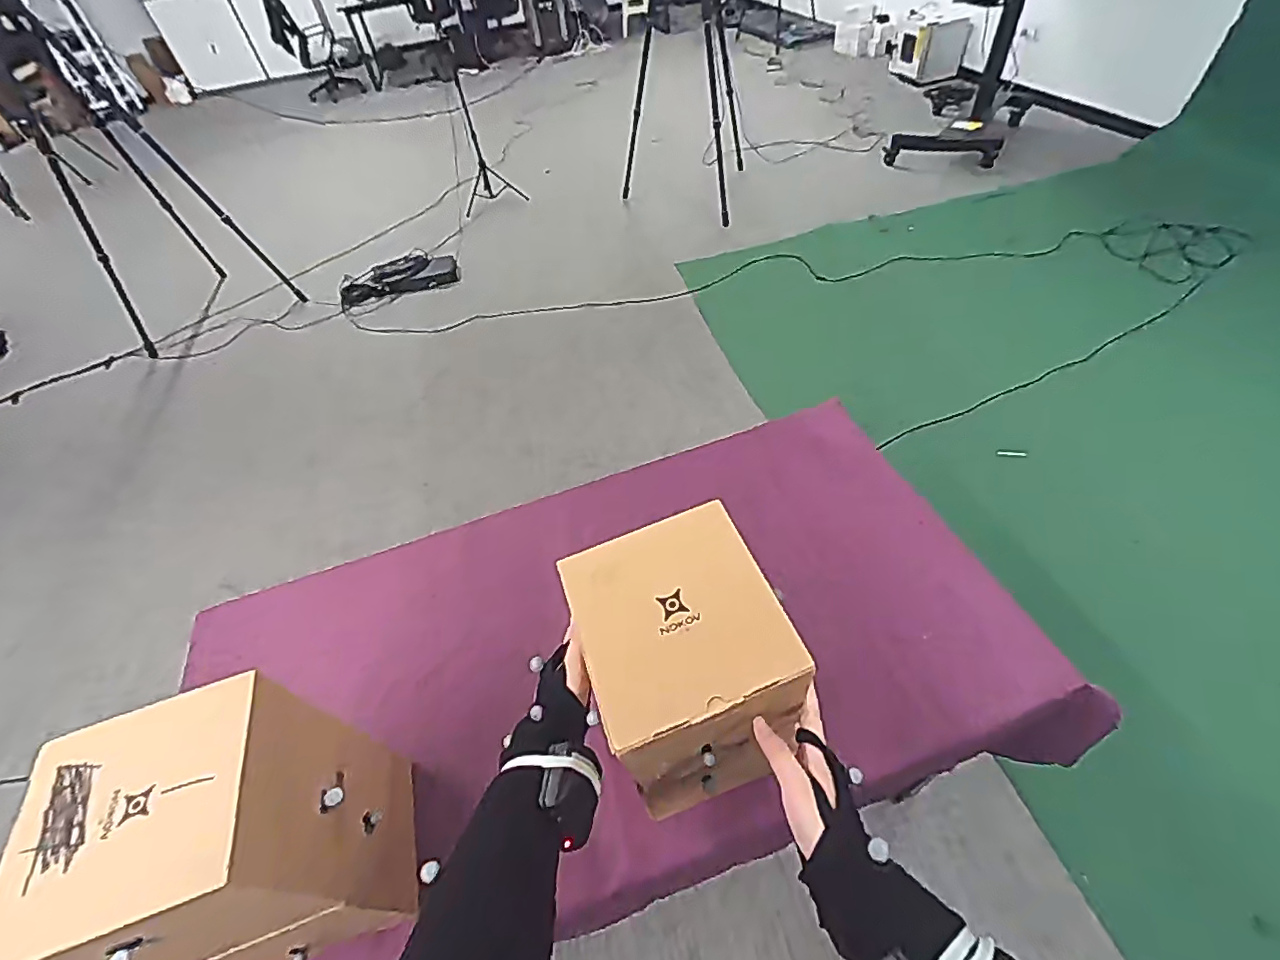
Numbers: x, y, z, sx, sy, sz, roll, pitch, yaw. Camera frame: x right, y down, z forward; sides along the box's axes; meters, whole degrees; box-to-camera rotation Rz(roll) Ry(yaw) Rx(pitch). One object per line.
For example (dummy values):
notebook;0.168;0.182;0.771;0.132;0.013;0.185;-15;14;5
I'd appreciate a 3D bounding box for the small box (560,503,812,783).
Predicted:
small box;0.038;0.158;0.517;0.168;0.176;0.179;-21;53;-6

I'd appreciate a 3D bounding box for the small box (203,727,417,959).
small box;-0.363;0.411;0.601;0.168;0.176;0.179;-18;49;-8

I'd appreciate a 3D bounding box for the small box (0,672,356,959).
small box;-0.382;0.305;0.477;0.179;0.176;0.168;-18;49;-8

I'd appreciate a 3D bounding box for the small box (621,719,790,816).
small box;0.061;0.276;0.653;0.179;0.176;0.168;-20;50;-7
